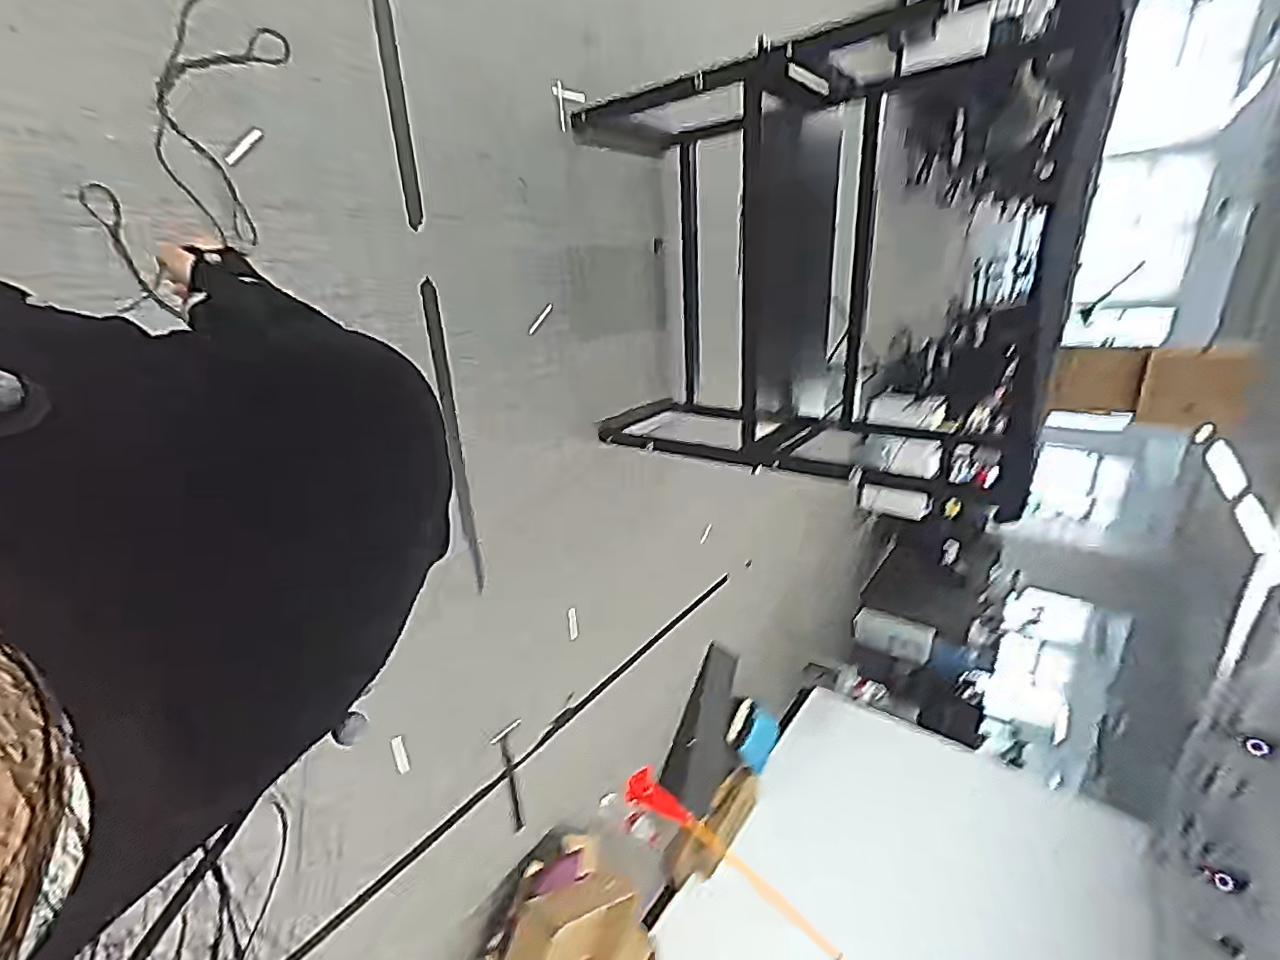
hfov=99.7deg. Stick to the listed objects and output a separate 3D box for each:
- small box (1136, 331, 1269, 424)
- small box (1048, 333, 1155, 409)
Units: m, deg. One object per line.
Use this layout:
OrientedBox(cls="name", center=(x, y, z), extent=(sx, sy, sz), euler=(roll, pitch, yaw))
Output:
OrientedBox(cls="small box", center=(1.207, -0.229, 1.180), extent=(0.179, 0.176, 0.168), euler=(-30, 124, -46))
OrientedBox(cls="small box", center=(1.098, -0.265, 1.299), extent=(0.179, 0.176, 0.168), euler=(-22, 117, -50))
